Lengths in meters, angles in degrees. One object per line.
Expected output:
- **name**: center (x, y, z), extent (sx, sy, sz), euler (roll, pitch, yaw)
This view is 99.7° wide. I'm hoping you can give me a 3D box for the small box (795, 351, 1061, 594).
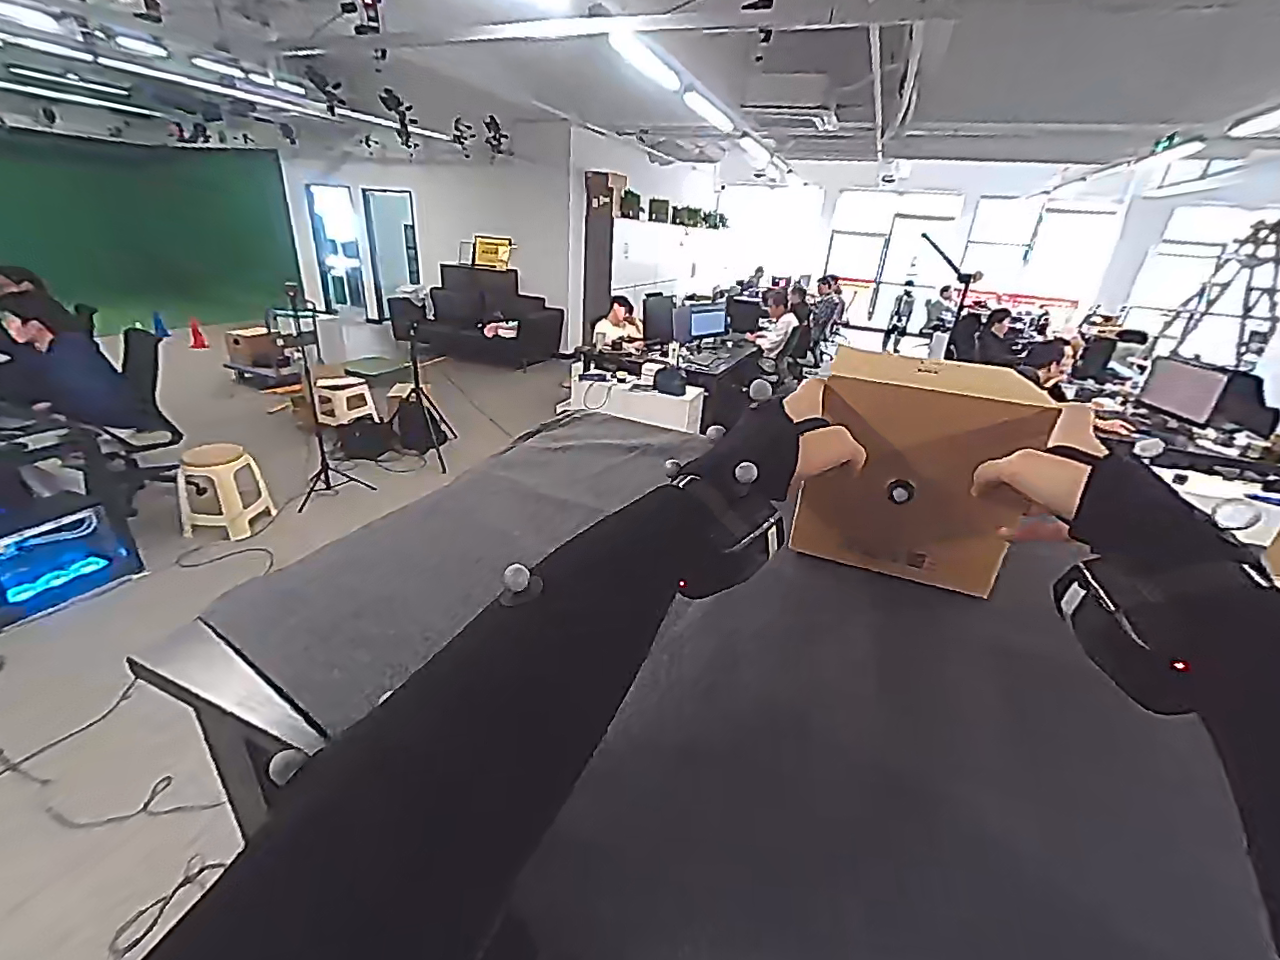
- **small box**: center (0.250, -0.017, 0.511), extent (0.168, 0.176, 0.179), euler (13, 24, 18)
